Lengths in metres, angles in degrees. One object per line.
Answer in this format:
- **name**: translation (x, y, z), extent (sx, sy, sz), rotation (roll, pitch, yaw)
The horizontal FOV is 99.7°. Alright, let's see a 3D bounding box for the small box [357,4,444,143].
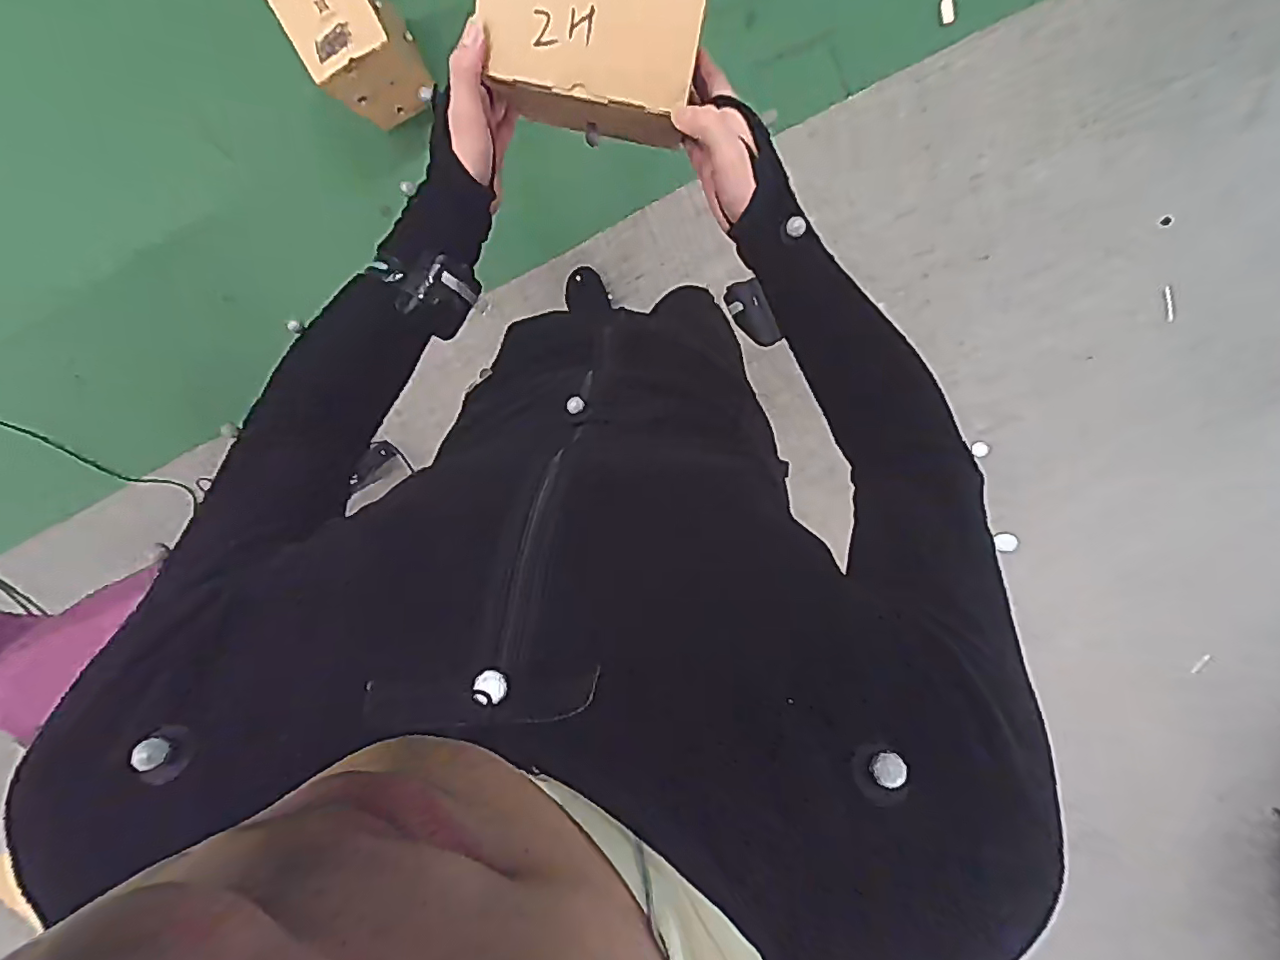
- **small box**: translation (-0.580, -0.909, 1.230), extent (0.168, 0.176, 0.179), rotation (-25, 109, 6)

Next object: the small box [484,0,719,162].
- **small box**: translation (-0.021, -0.393, 0.457), extent (0.168, 0.176, 0.179), rotation (11, 113, -2)

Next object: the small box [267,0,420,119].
- **small box**: translation (-0.573, -0.856, 1.075), extent (0.168, 0.176, 0.179), rotation (-25, 108, 6)
